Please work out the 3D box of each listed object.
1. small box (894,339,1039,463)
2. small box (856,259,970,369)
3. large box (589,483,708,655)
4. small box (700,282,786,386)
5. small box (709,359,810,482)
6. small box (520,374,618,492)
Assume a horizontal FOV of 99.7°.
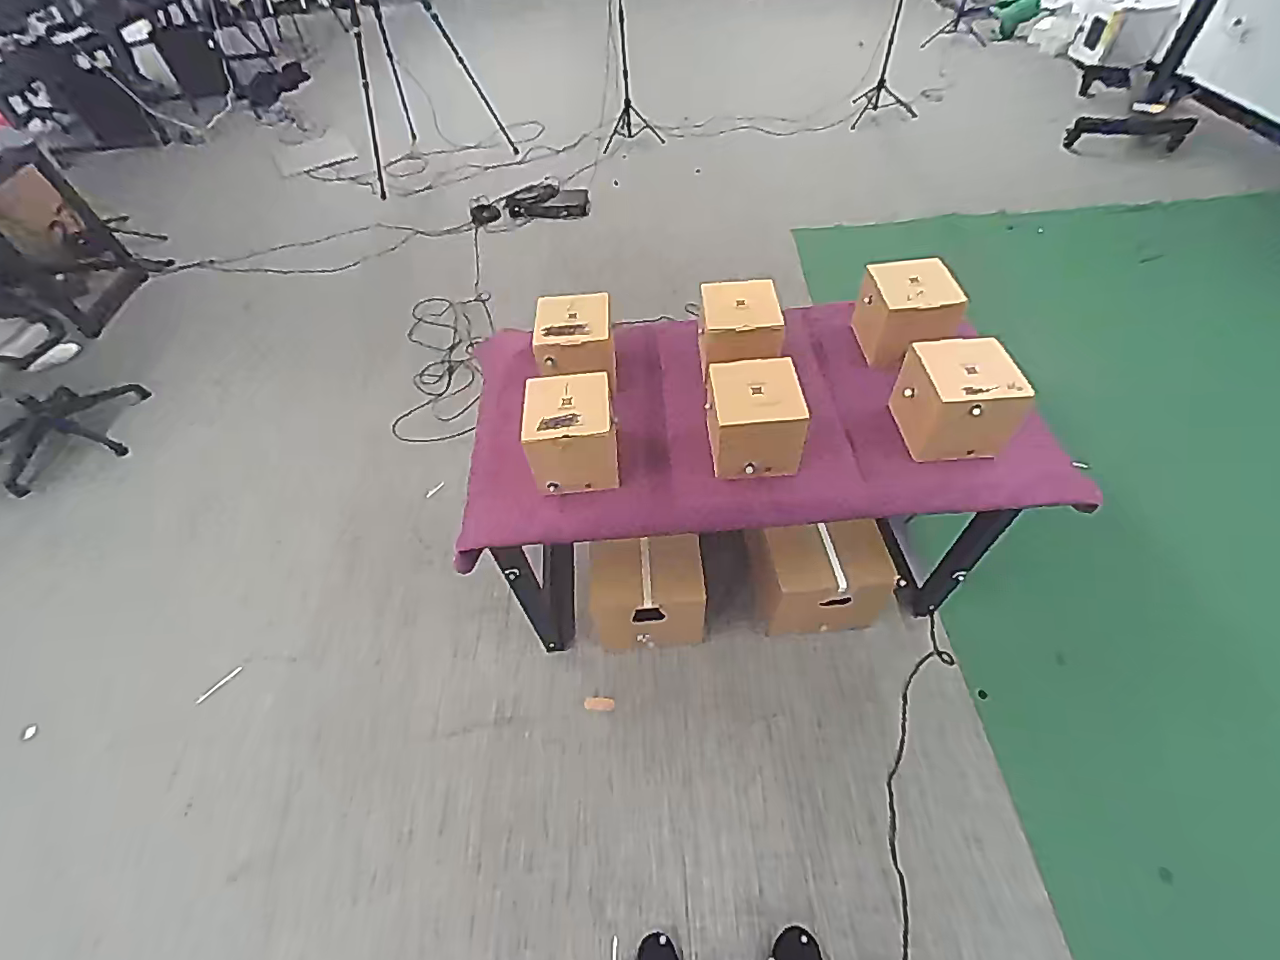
[{"bbox_3d":[0.626,-0.154,1.067,0.168,0.176,0.179,-4,50,4],"label":"small box"},{"bbox_3d":[0.613,-0.380,1.244,0.168,0.176,0.179,-5,53,4],"label":"small box"},{"bbox_3d":[0.024,0.271,1.638,0.320,0.320,0.408,-4,51,1],"label":"large box"},{"bbox_3d":[0.229,-0.333,1.249,0.168,0.176,0.179,-3,53,3],"label":"small box"},{"bbox_3d":[0.227,-0.116,1.079,0.168,0.176,0.179,-4,51,3],"label":"small box"},{"bbox_3d":[-0.134,-0.087,1.088,0.168,0.176,0.179,-5,50,1],"label":"small box"}]
